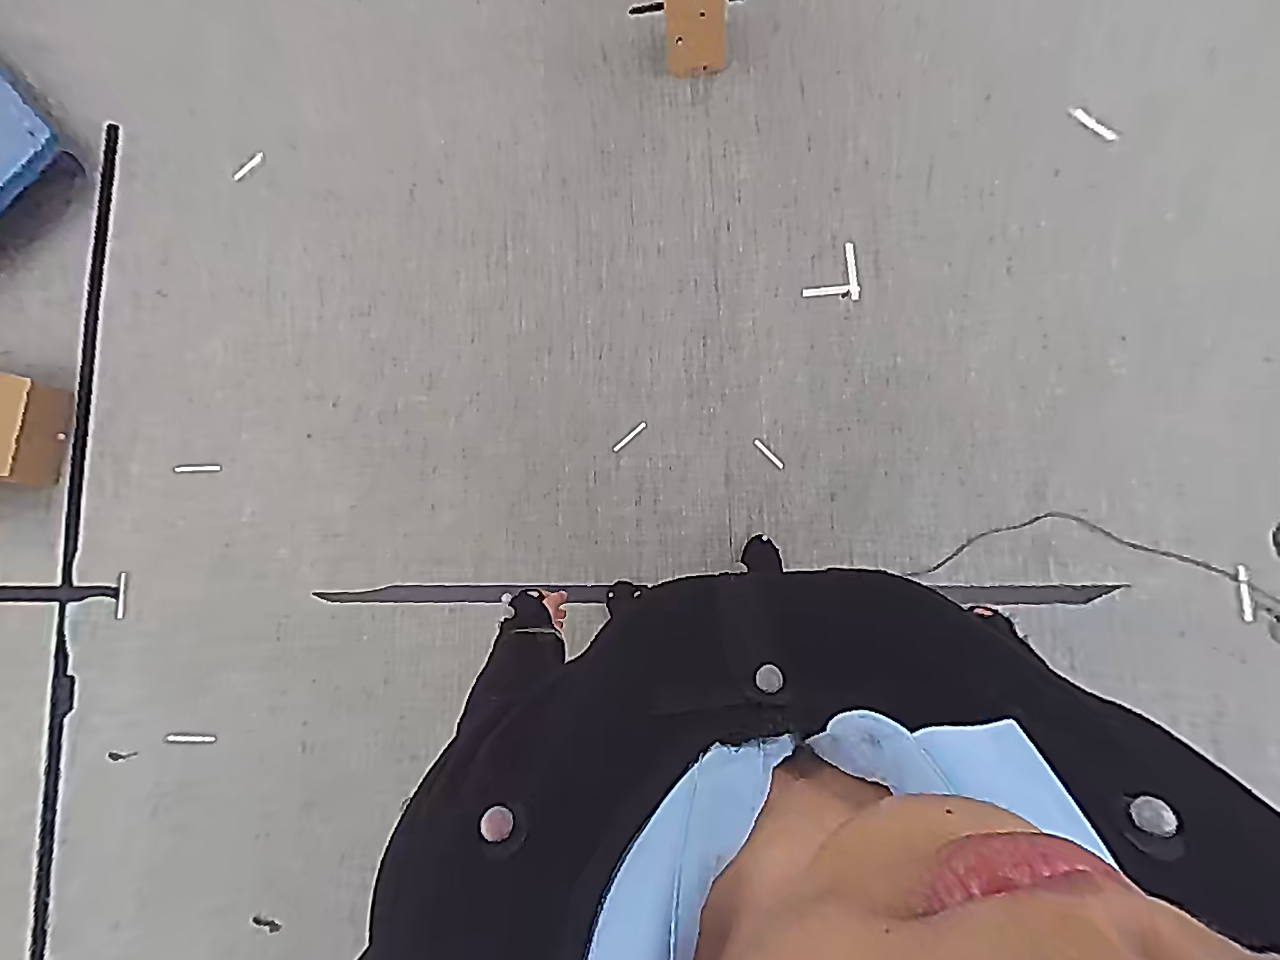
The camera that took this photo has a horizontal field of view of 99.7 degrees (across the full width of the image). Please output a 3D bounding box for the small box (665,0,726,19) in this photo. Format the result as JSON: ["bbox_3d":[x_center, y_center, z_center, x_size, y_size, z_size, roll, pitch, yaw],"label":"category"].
[{"bbox_3d":[0.150,-1.375,1.441,0.168,0.176,0.179,2,83,6],"label":"small box"}]
